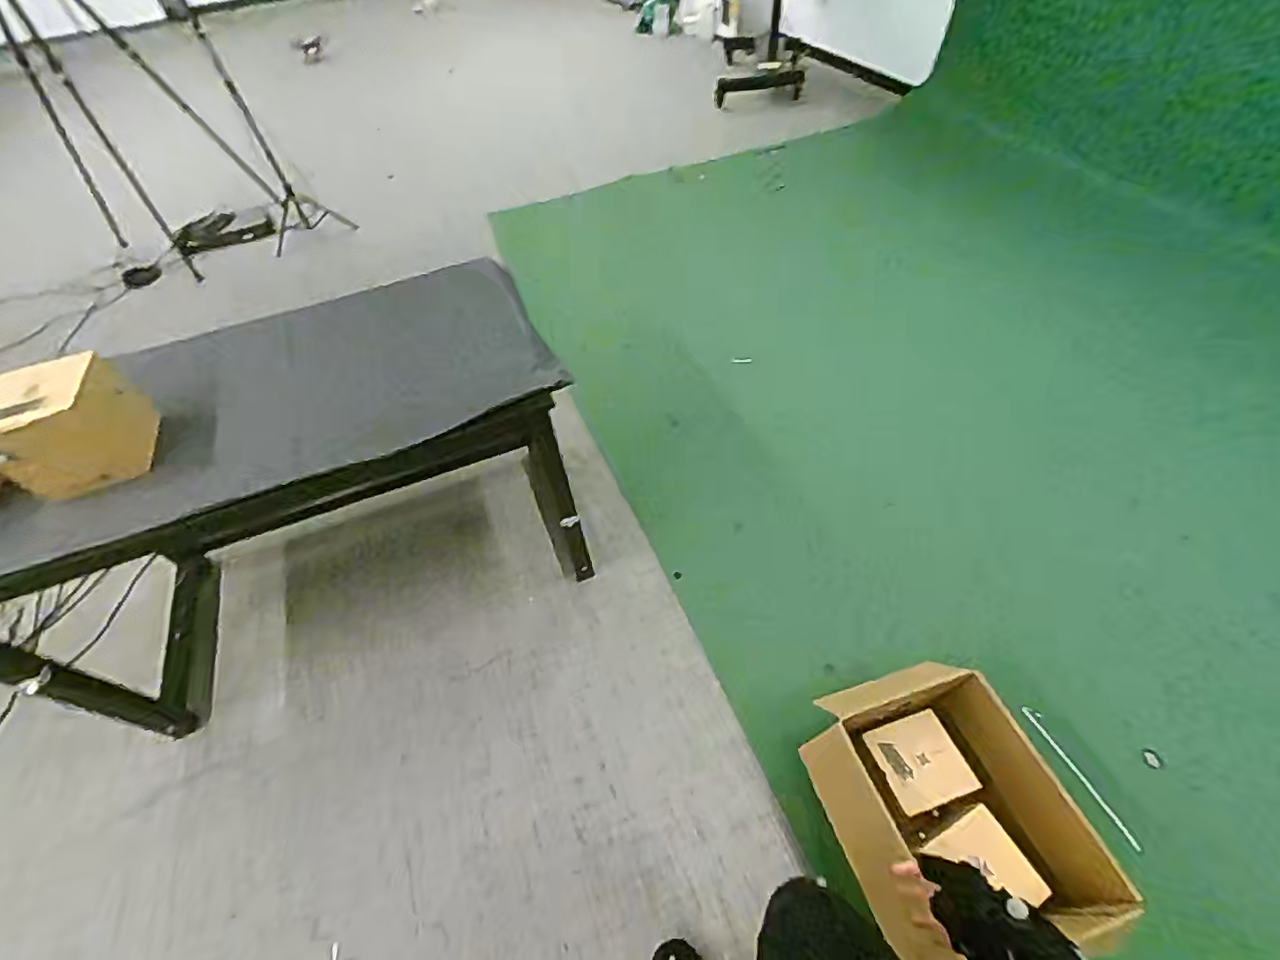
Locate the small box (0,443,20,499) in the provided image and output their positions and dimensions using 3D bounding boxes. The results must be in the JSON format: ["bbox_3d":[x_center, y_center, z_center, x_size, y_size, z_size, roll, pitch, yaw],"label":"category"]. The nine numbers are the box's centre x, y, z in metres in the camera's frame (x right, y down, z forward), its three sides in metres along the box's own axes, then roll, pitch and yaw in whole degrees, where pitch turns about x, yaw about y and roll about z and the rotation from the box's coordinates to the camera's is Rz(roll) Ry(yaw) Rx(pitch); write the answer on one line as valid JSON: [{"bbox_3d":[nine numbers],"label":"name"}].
[{"bbox_3d":[-1.262,-0.014,0.937,0.168,0.176,0.179,-18,51,-10],"label":"small box"}]
